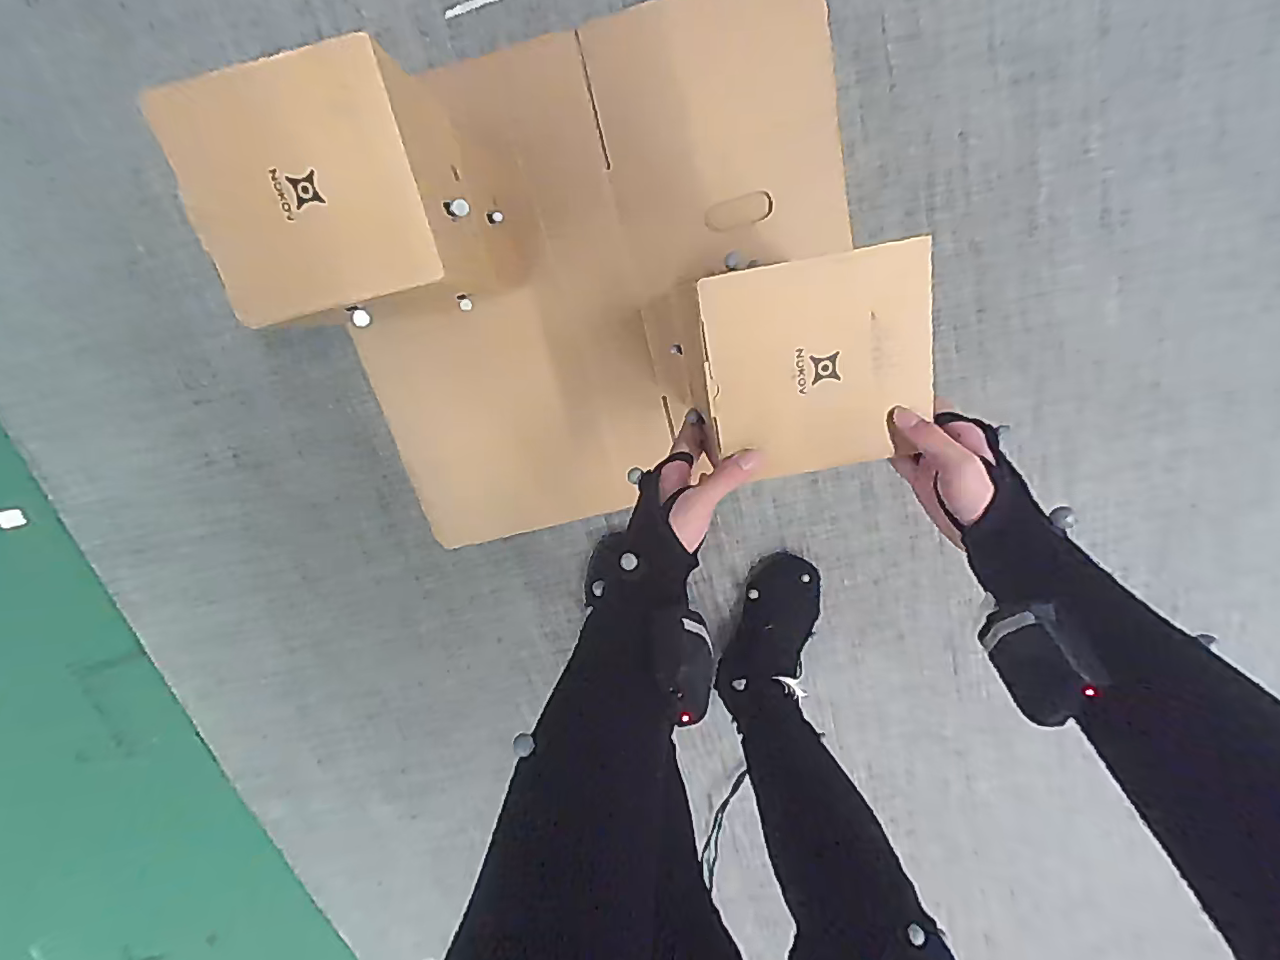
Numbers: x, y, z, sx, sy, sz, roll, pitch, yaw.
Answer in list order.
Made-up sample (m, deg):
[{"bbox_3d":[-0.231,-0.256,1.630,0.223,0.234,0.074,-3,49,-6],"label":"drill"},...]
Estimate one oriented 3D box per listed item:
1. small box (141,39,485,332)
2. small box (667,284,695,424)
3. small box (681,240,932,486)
[{"bbox_3d":[-0.250,-0.237,0.474,0.179,0.176,0.168,-12,109,4],"label":"small box"},{"bbox_3d":[0.136,-0.170,0.674,0.179,0.176,0.168,-11,108,4],"label":"small box"},{"bbox_3d":[0.135,-0.108,0.491,0.179,0.176,0.168,-10,109,1],"label":"small box"}]
